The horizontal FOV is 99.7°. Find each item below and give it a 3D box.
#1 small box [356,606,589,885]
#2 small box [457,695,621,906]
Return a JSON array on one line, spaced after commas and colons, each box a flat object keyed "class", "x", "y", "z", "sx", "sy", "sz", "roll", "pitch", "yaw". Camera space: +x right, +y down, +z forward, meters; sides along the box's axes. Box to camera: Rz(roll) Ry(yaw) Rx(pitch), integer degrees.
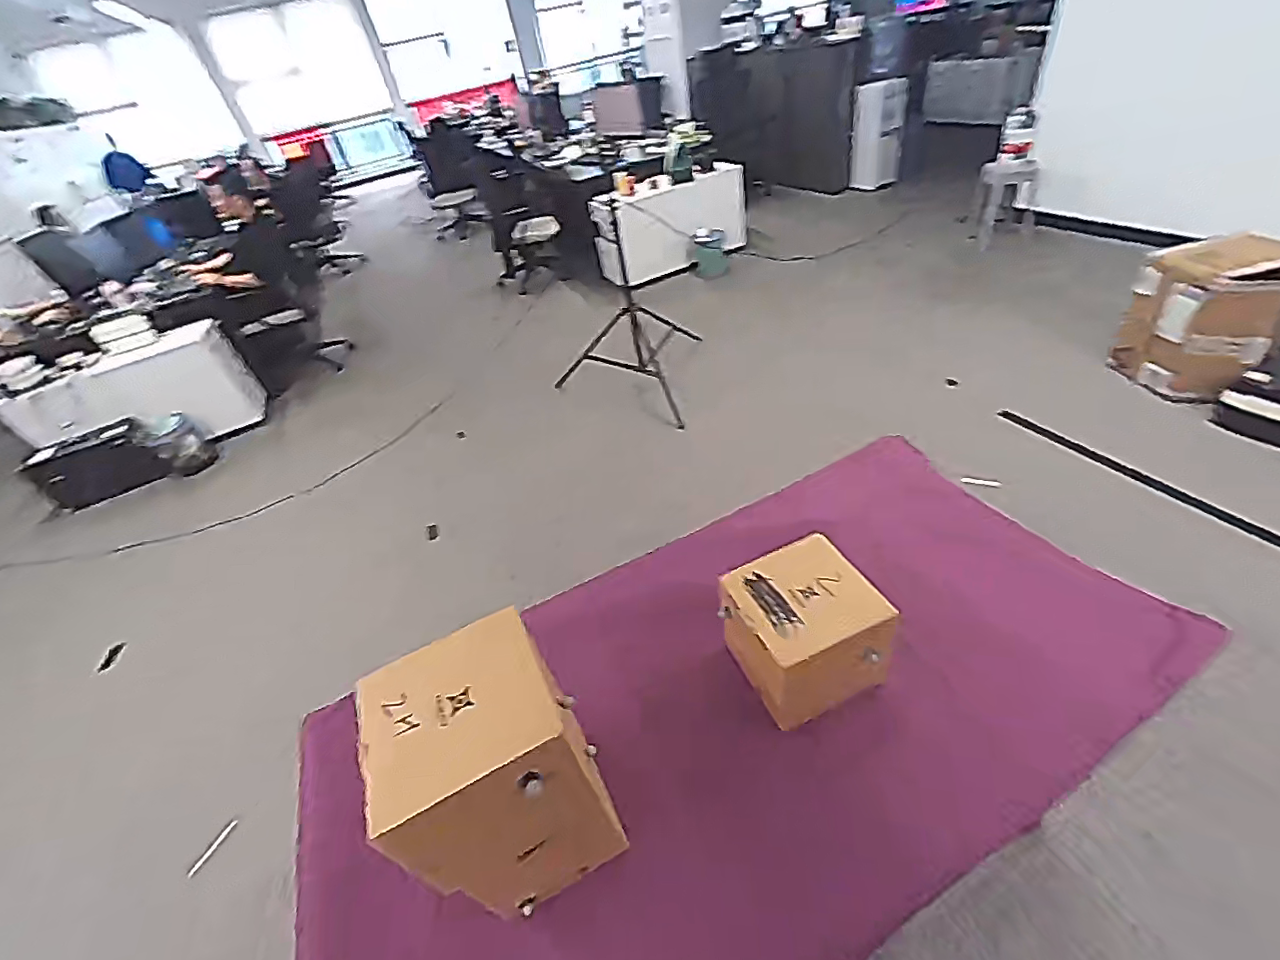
[{"class": "small box", "x": -0.165, "y": 0.274, "z": 0.565, "sx": 0.179, "sy": 0.176, "sz": 0.168, "roll": -25, "pitch": 41, "yaw": -14}, {"class": "small box", "x": -0.139, "y": 0.392, "z": 0.678, "sx": 0.168, "sy": 0.176, "sz": 0.179, "roll": -24, "pitch": 41, "yaw": -14}]
